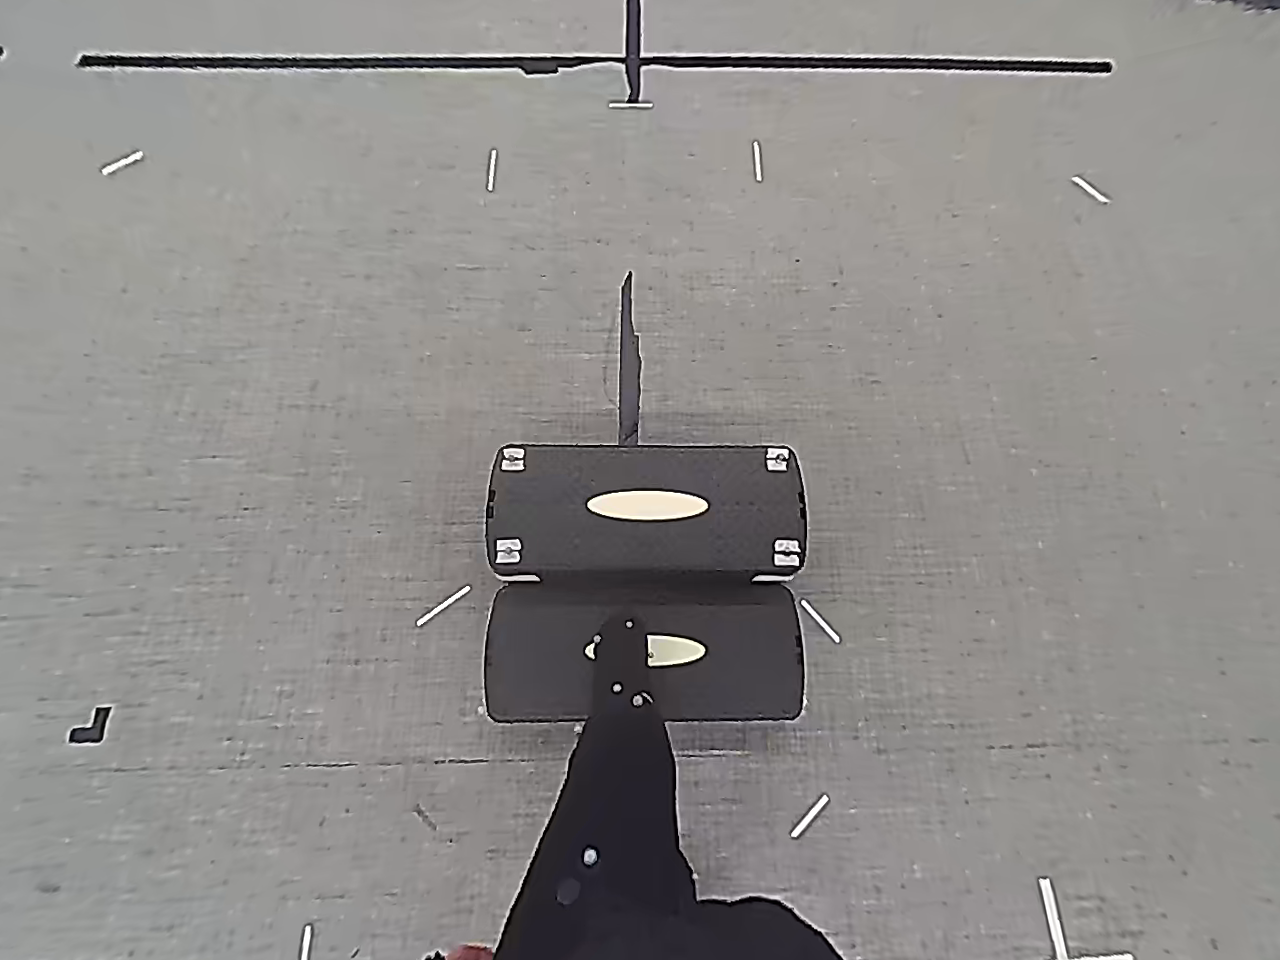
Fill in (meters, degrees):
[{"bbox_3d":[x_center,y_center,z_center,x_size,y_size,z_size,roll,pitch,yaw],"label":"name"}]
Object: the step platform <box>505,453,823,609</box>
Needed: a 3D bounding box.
[{"bbox_3d":[0.050,0.114,1.206,0.684,0.204,0.286,4,71,0],"label":"step platform"}]
